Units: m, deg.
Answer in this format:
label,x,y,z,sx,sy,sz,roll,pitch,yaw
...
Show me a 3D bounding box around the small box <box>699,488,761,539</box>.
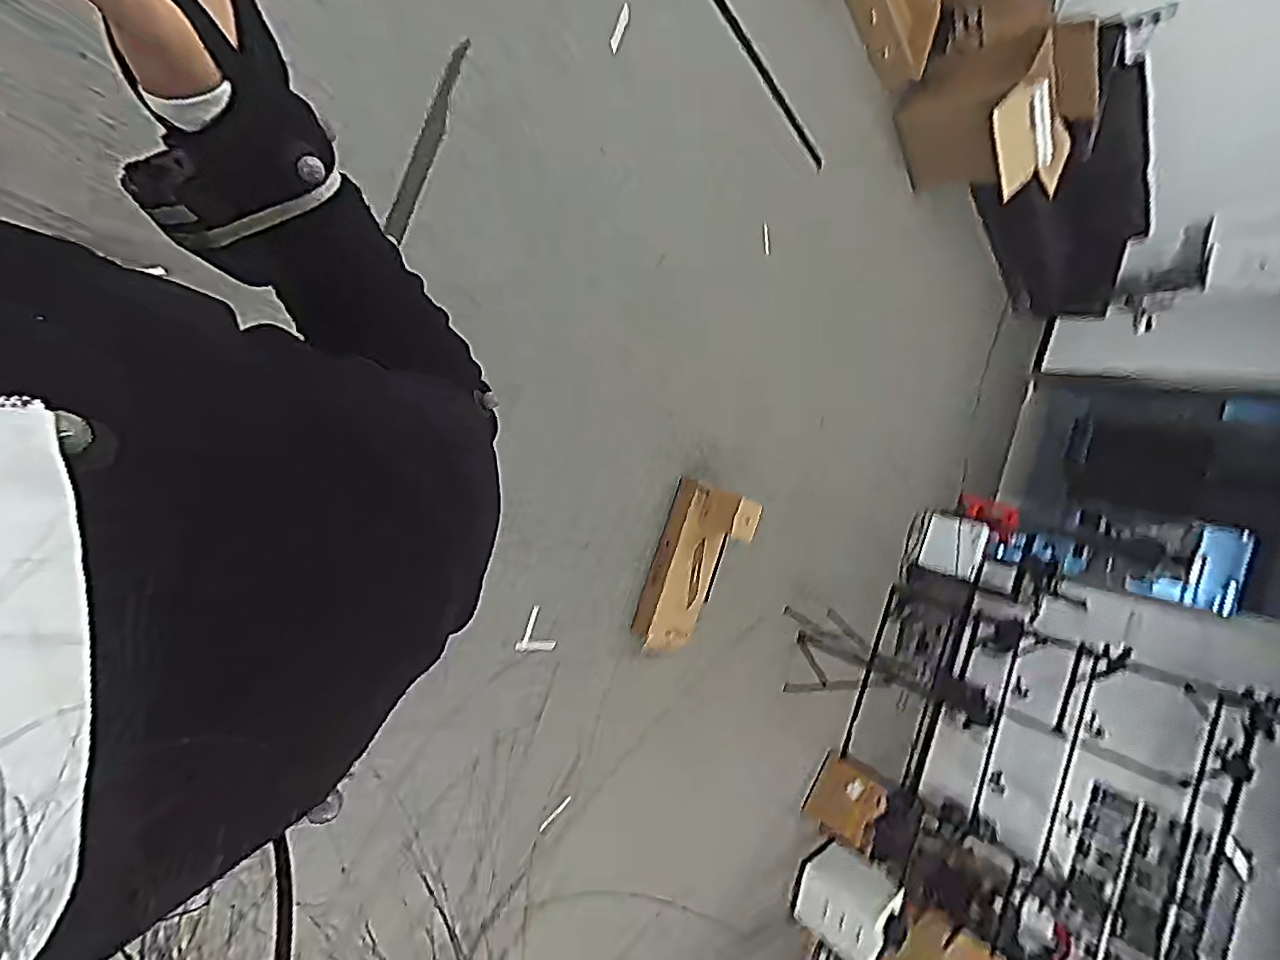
label,x,y,z,sx,sy,sz,roll,pitch,yaw
small box,0.383,0.140,2.306,0.179,0.176,0.168,20,87,-46
